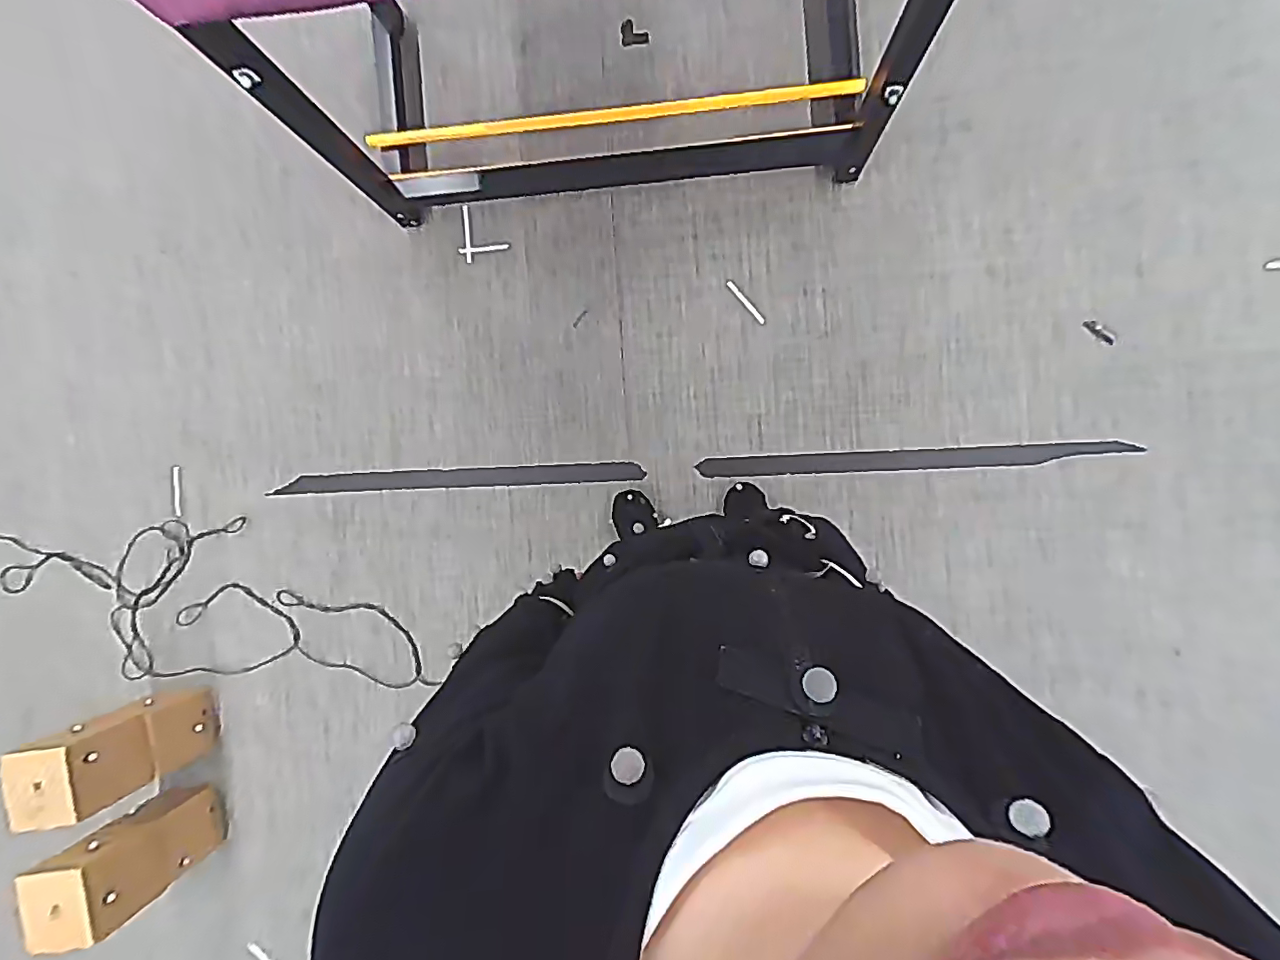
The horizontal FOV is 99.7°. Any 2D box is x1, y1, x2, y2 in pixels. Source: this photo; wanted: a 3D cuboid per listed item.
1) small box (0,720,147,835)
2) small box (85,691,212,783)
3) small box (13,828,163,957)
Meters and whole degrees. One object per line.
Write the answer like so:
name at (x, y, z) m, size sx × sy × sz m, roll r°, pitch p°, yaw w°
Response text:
small box at (-1.300, 0.674, 1.248) m, size 0.168 × 0.176 × 0.179 m, roll -9°, pitch 90°, yaw 6°
small box at (-1.276, 0.670, 1.412) m, size 0.179 × 0.176 × 0.168 m, roll -7°, pitch 91°, yaw 4°
small box at (-1.265, 0.941, 1.251) m, size 0.168 × 0.176 × 0.179 m, roll -11°, pitch 90°, yaw 5°
